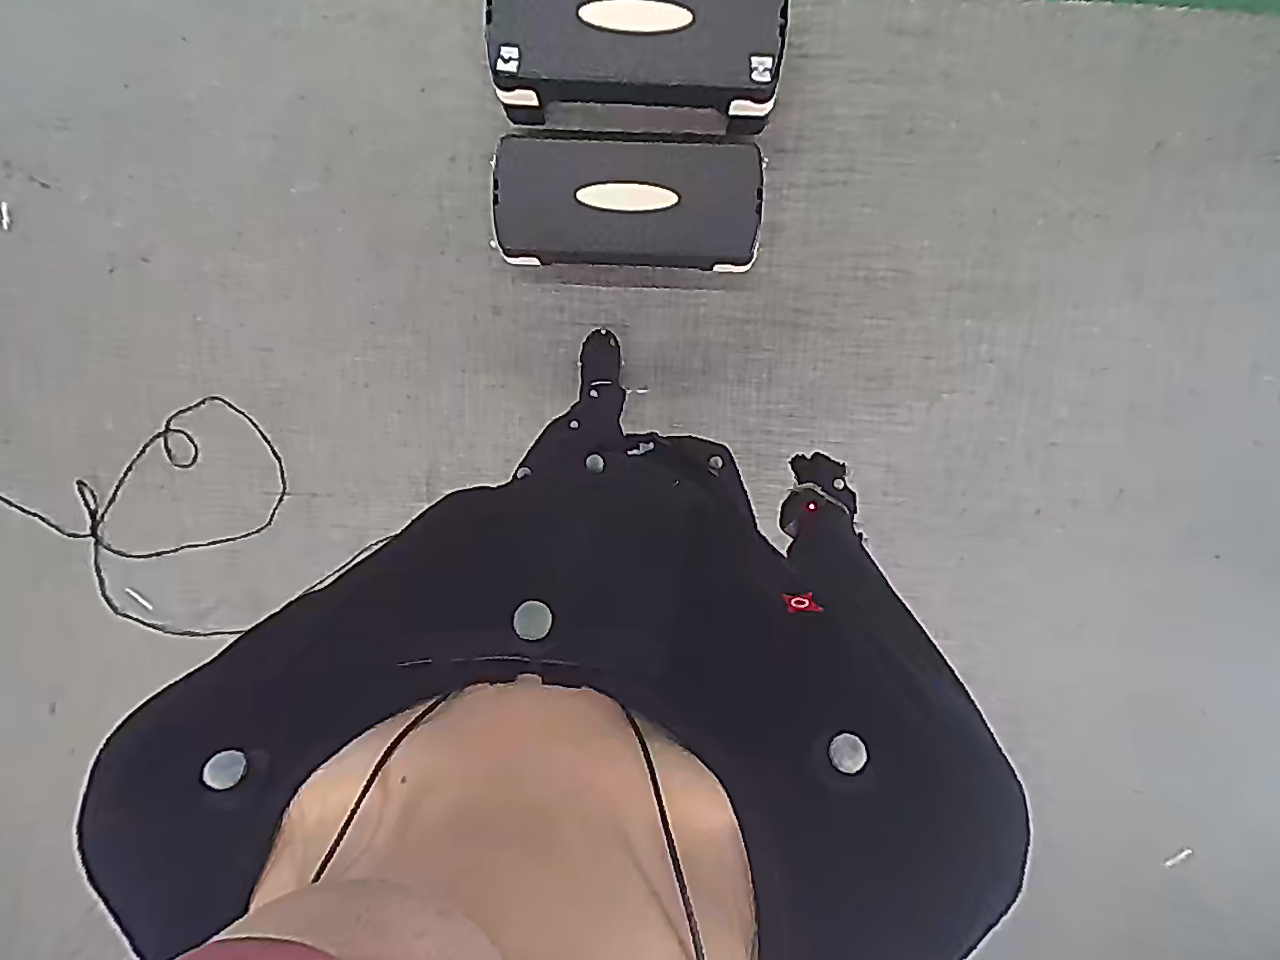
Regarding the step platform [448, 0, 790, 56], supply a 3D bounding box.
[{"bbox_3d":[-0.041,-1.029,1.045,0.684,0.204,0.286,3,98,1],"label":"step platform"}]
